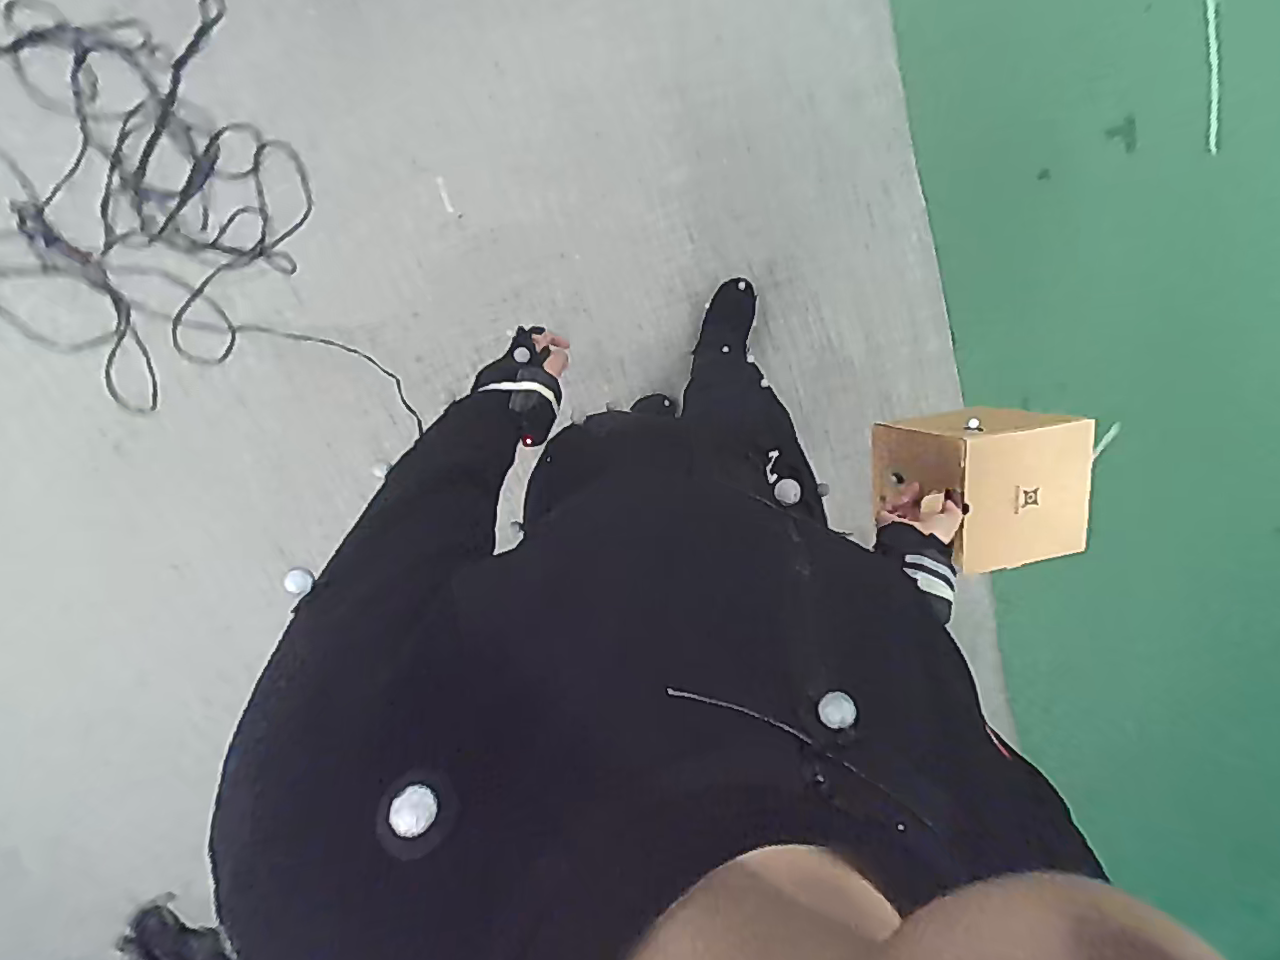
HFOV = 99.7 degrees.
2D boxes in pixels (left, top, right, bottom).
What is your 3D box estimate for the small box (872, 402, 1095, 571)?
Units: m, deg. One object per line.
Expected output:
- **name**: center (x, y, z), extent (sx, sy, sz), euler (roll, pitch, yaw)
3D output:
- **small box**: center (0.430, -0.004, 0.697), extent (0.179, 0.176, 0.168), euler (-12, 103, -9)
